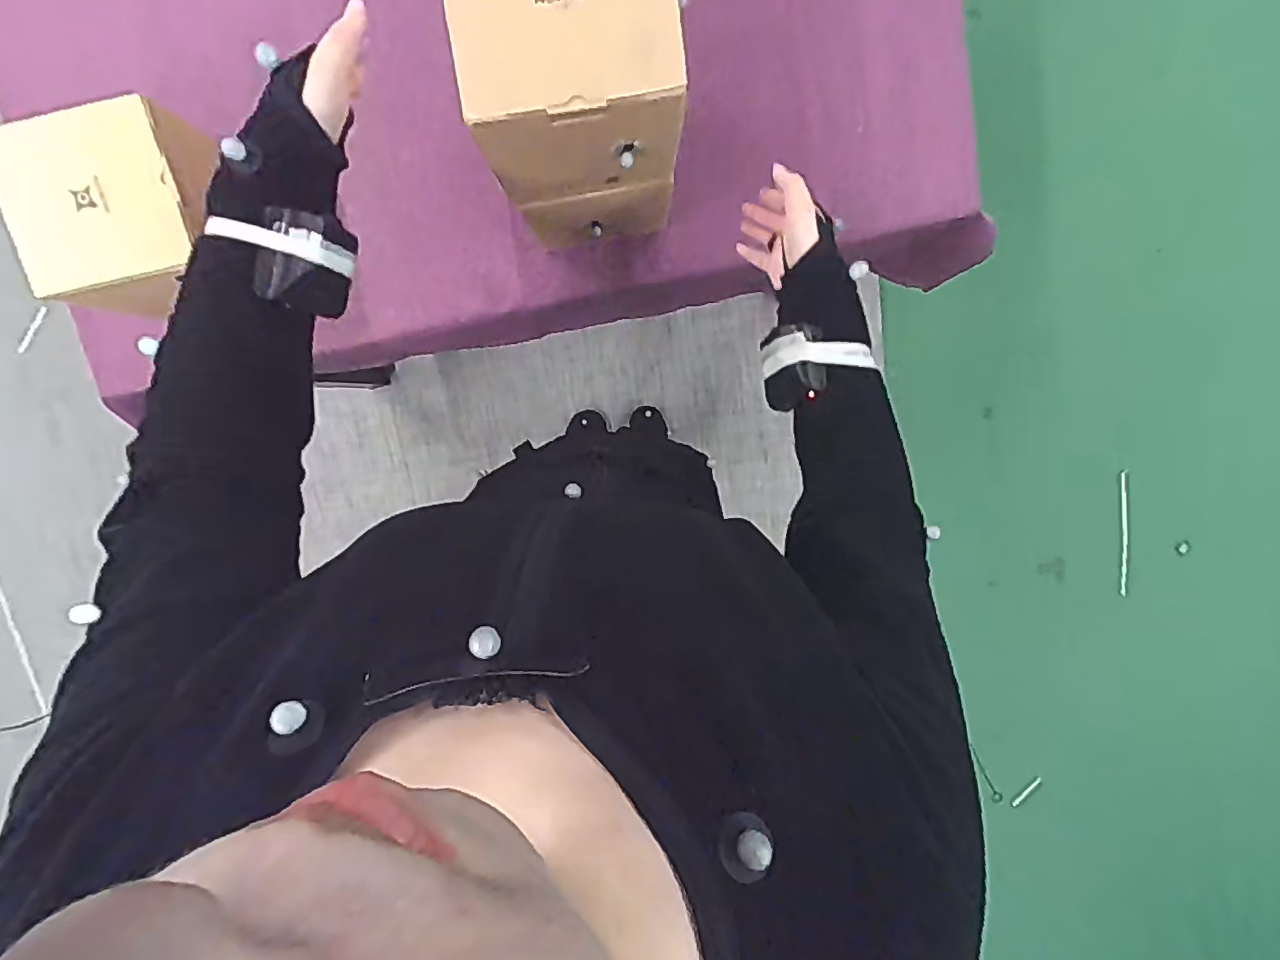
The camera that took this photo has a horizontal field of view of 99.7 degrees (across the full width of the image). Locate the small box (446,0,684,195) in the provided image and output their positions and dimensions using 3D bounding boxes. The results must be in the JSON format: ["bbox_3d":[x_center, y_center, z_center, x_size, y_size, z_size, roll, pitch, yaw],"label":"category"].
[{"bbox_3d":[-0.057,-0.365,0.461,0.168,0.176,0.179,-8,98,1],"label":"small box"}]

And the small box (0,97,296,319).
[{"bbox_3d":[-0.555,-0.298,0.633,0.179,0.176,0.168,-13,98,0],"label":"small box"}]

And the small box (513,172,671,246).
[{"bbox_3d":[-0.059,-0.385,0.623,0.168,0.176,0.179,-10,98,0],"label":"small box"}]
